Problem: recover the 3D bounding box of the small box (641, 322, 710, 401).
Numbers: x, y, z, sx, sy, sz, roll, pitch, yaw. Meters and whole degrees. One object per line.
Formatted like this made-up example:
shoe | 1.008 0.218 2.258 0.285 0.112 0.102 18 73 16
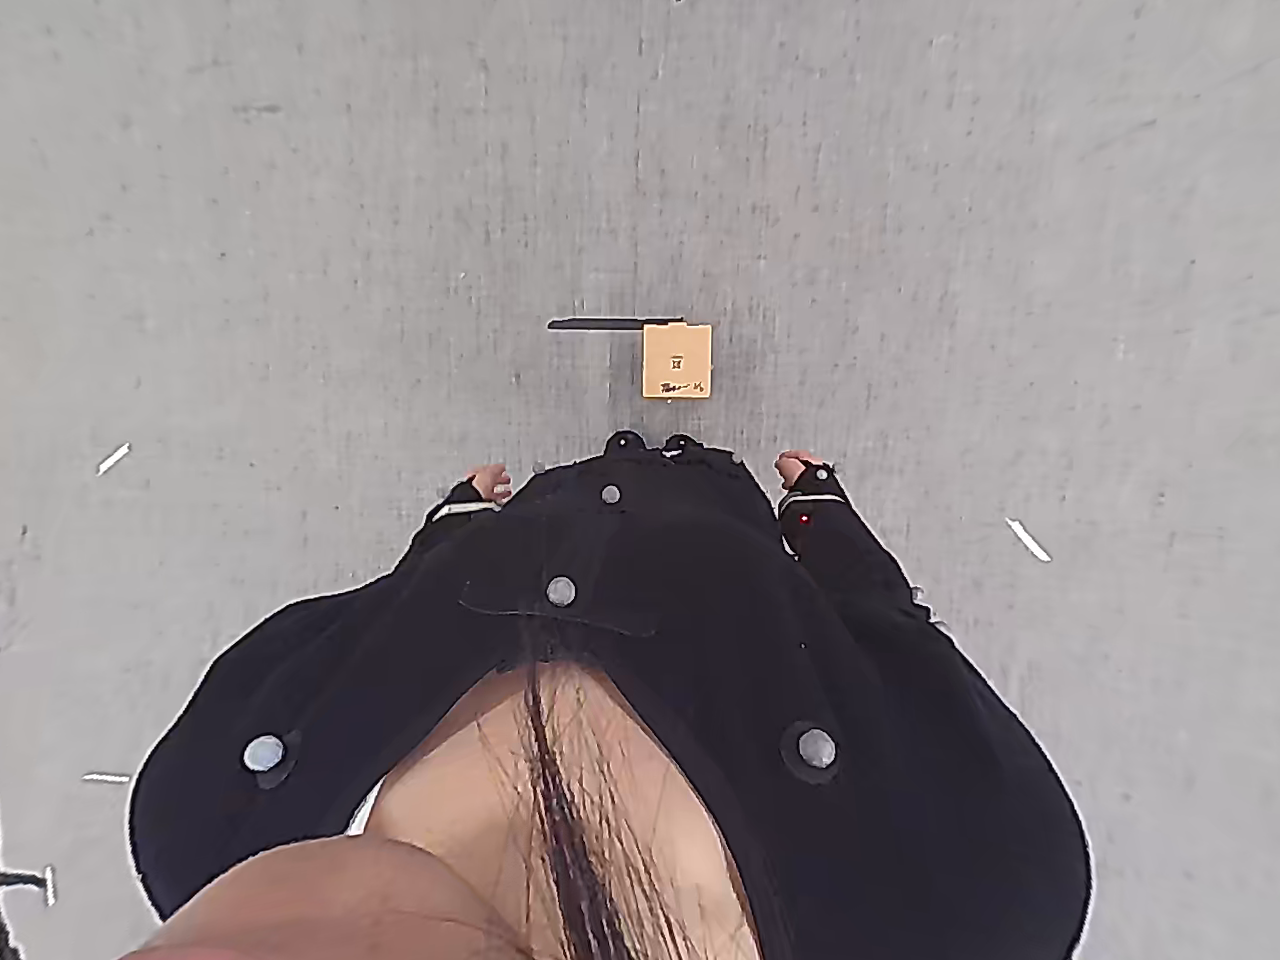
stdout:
small box | 0.088 -0.299 1.386 0.168 0.176 0.179 1 95 3
